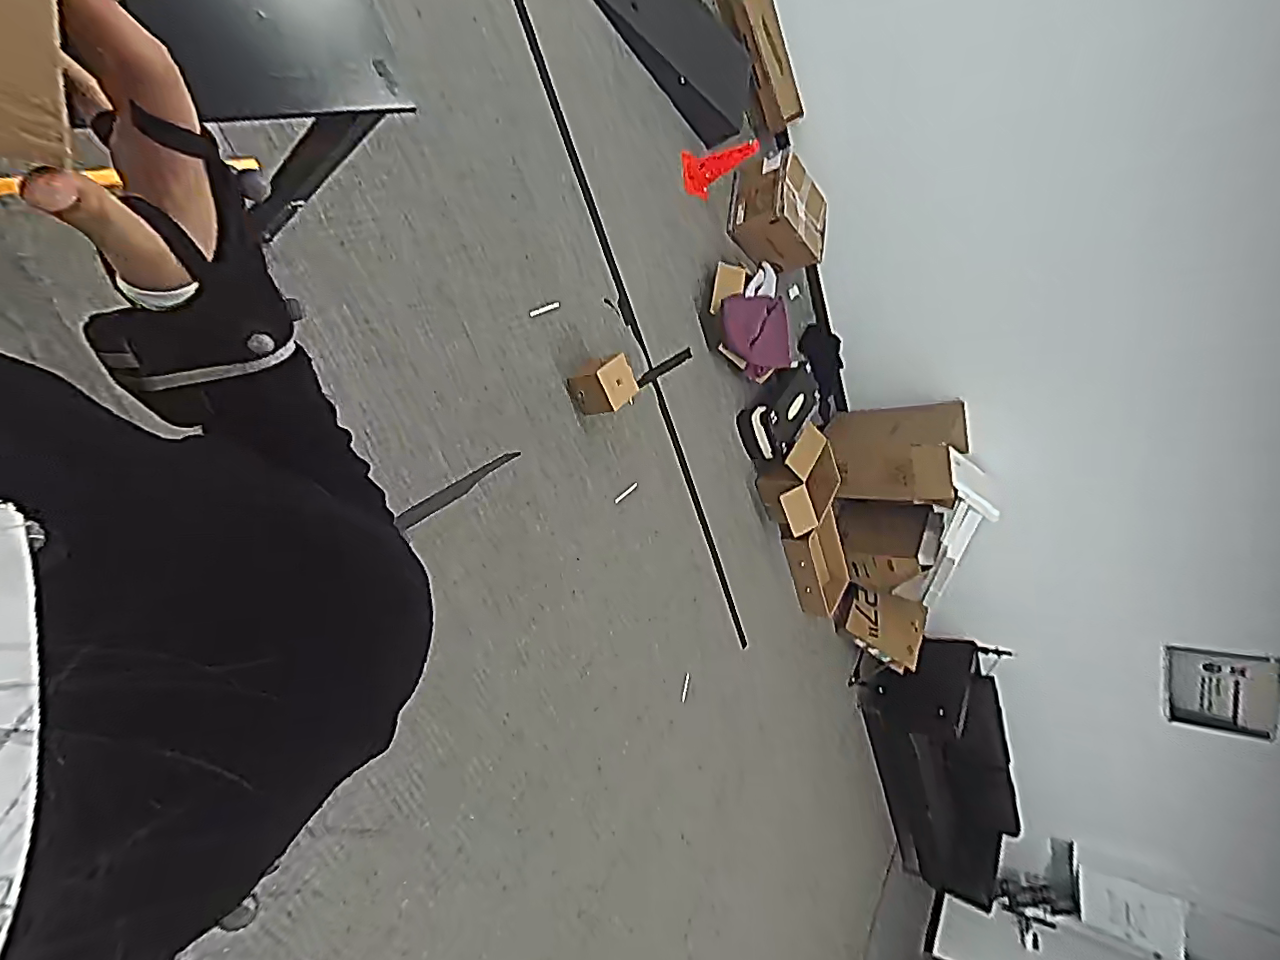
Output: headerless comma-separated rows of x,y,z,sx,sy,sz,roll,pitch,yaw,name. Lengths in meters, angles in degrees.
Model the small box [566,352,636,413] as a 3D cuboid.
-0.150,-0.371,2.071,0.179,0.176,0.168,-47,122,-37,small box
